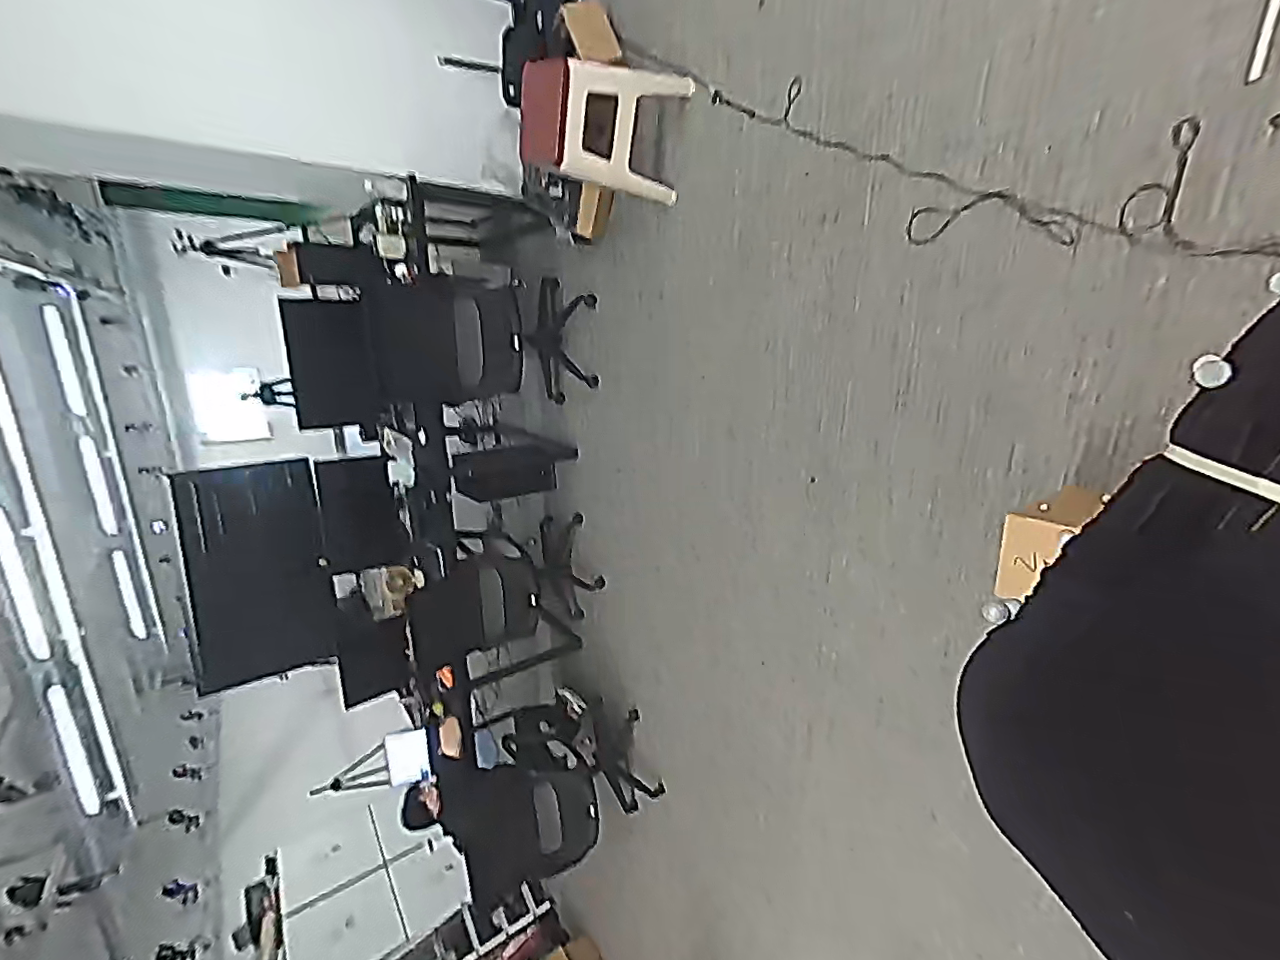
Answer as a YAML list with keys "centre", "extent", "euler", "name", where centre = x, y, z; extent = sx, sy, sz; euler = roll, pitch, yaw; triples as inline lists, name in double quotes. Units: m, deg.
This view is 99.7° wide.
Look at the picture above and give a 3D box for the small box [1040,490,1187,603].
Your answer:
- centre: [0.917, 0.117, 1.053]
  extent: [0.179, 0.176, 0.168]
  euler: [9, 107, 53]
  name: "small box"
